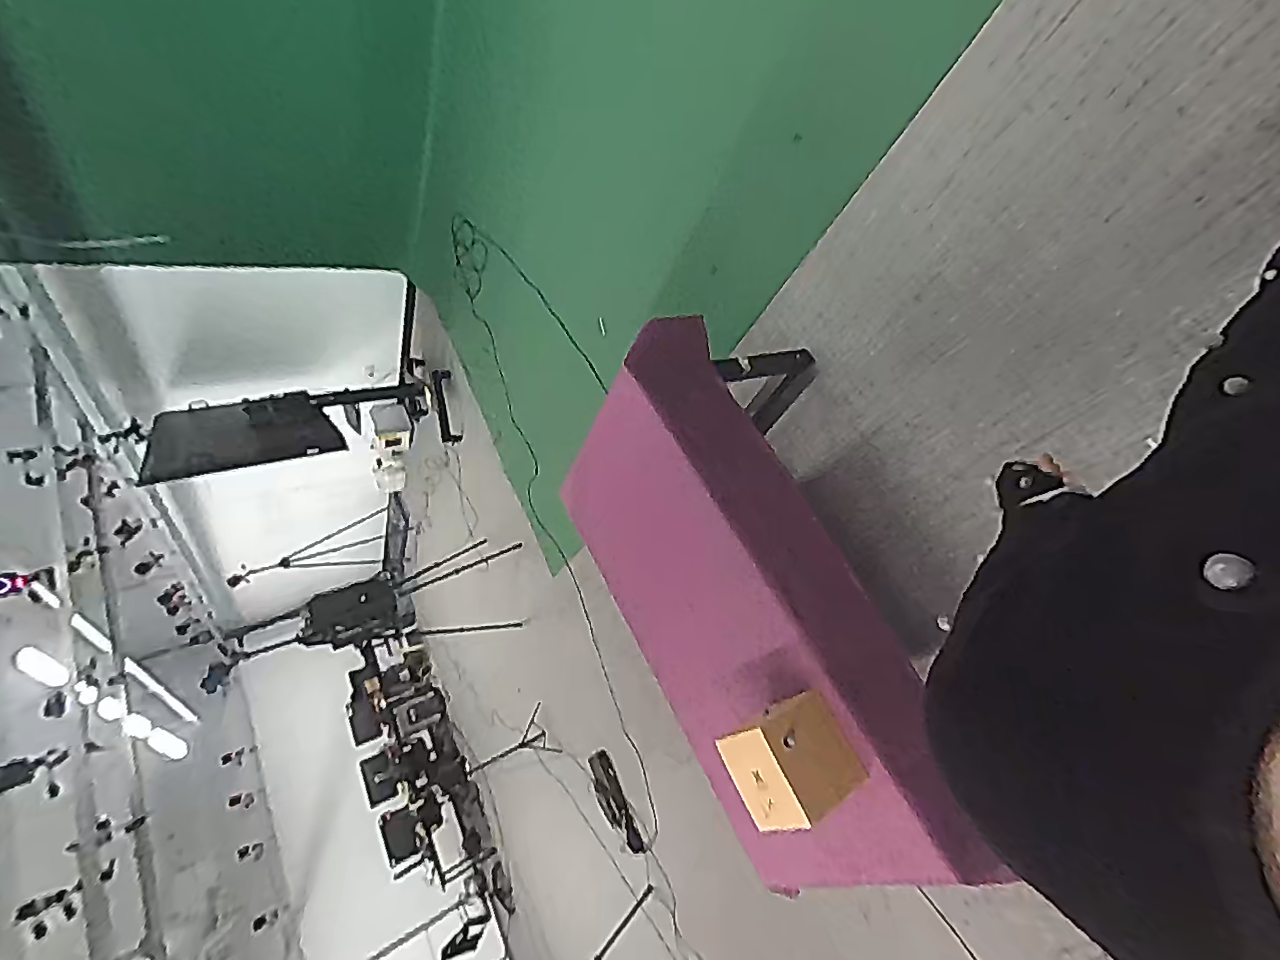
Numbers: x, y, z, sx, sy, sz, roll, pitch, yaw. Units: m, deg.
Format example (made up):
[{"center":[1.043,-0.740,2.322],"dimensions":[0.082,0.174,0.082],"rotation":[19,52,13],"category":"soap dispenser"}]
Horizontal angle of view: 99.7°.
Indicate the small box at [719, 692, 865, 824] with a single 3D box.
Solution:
[{"center":[0.292,0.532,1.050],"dimensions":[0.179,0.176,0.168],"rotation":[61,144,20],"category":"small box"}]
